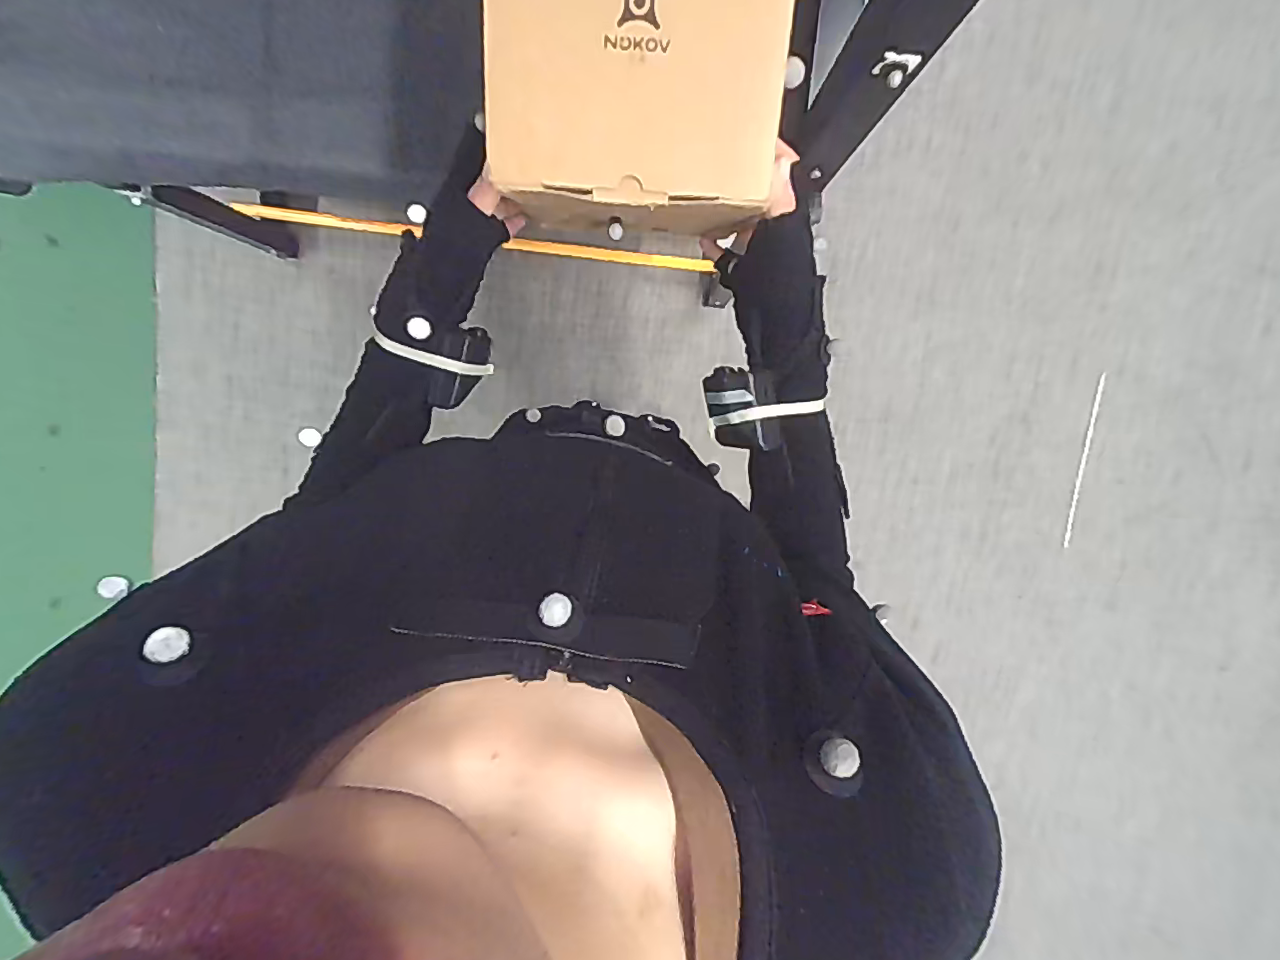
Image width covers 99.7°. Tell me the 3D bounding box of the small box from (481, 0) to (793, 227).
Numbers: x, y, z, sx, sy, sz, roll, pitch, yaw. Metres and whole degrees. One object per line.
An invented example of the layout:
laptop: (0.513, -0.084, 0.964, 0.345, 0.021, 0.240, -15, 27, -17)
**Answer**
small box: (-0.002, -0.278, 0.357, 0.168, 0.176, 0.179, 3, 109, -1)
